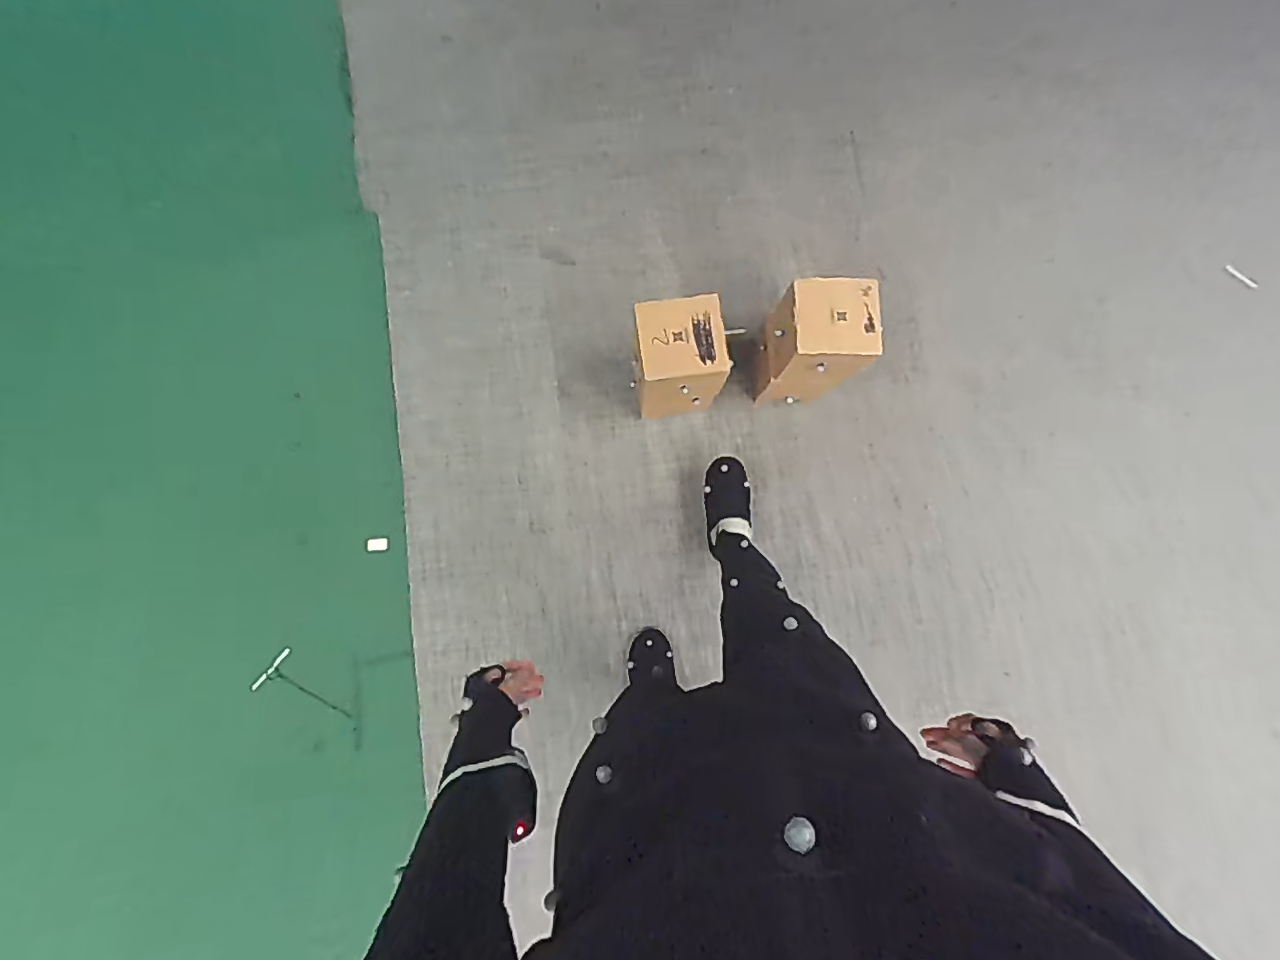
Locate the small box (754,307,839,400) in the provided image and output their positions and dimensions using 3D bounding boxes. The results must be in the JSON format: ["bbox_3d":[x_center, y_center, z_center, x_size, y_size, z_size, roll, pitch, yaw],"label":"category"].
[{"bbox_3d":[0.381,-0.309,1.341,0.168,0.176,0.179,0,82,0],"label":"small box"}]

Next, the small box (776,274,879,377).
[{"bbox_3d":[0.397,-0.329,1.178,0.179,0.176,0.168,0,82,1],"label":"small box"}]
